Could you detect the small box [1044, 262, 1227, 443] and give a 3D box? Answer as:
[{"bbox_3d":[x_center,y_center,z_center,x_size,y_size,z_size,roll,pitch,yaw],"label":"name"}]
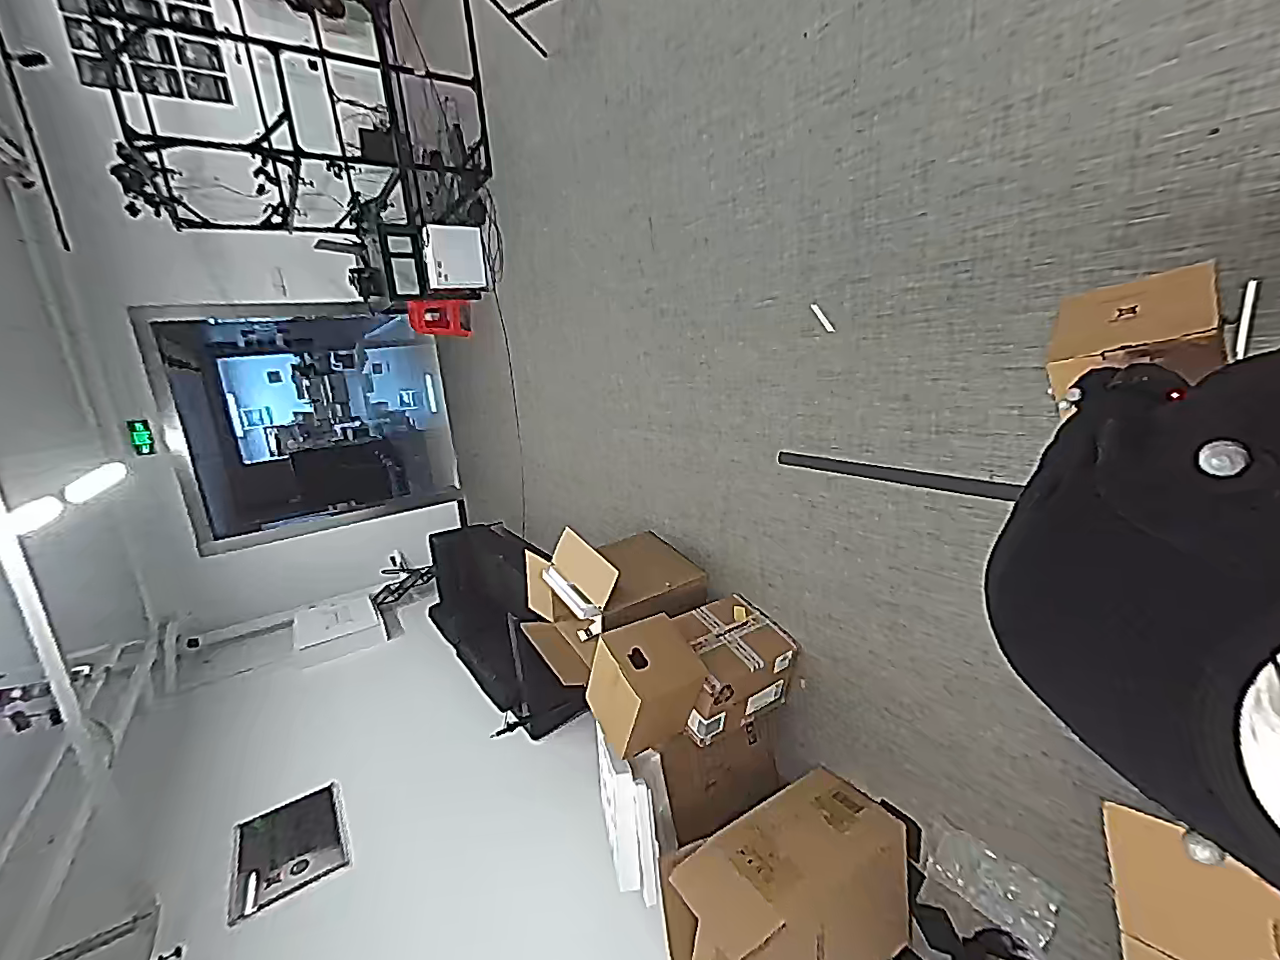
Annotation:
[{"bbox_3d":[0.697,-0.165,0.761,0.168,0.179,0.176,-6,128,48],"label":"small box"}]
